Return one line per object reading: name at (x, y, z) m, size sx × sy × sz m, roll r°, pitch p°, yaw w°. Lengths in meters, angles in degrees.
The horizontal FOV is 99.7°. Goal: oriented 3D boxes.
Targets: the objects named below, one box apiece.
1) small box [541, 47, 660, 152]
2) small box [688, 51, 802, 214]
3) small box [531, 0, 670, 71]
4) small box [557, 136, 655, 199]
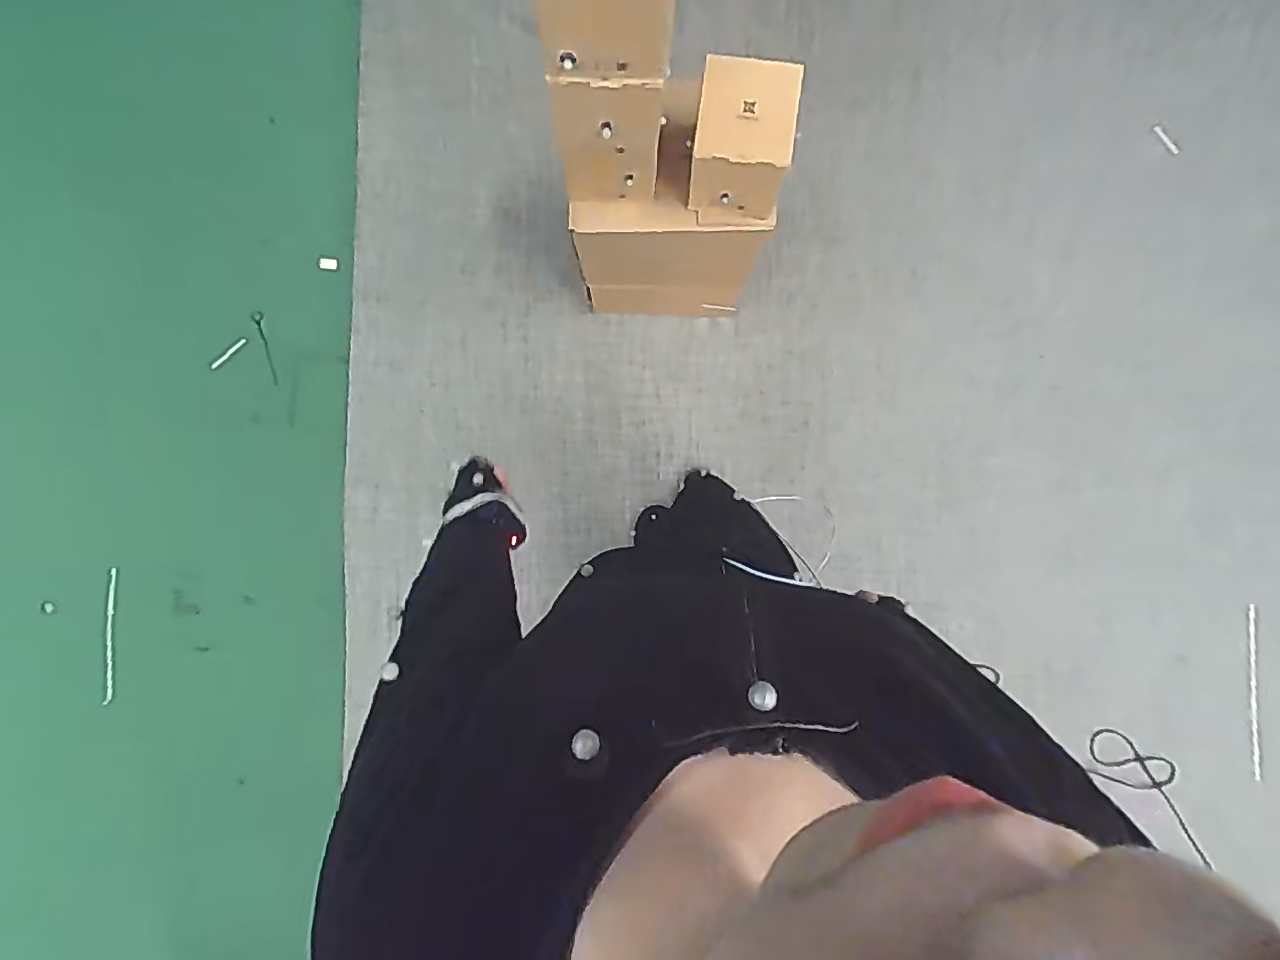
small box at (-0.053, -0.625, 0.813) m, size 0.168 × 0.176 × 0.179 m, roll 0°, pitch 90°, yaw -2°
small box at (0.179, -0.615, 0.974) m, size 0.168 × 0.176 × 0.179 m, roll 7°, pitch 89°, yaw 2°
small box at (-0.046, -0.635, 0.648) m, size 0.168 × 0.176 × 0.179 m, roll 0°, pitch 89°, yaw -2°
small box at (-0.054, -0.635, 0.976) m, size 0.168 × 0.176 × 0.179 m, roll 2°, pitch 89°, yaw -2°
